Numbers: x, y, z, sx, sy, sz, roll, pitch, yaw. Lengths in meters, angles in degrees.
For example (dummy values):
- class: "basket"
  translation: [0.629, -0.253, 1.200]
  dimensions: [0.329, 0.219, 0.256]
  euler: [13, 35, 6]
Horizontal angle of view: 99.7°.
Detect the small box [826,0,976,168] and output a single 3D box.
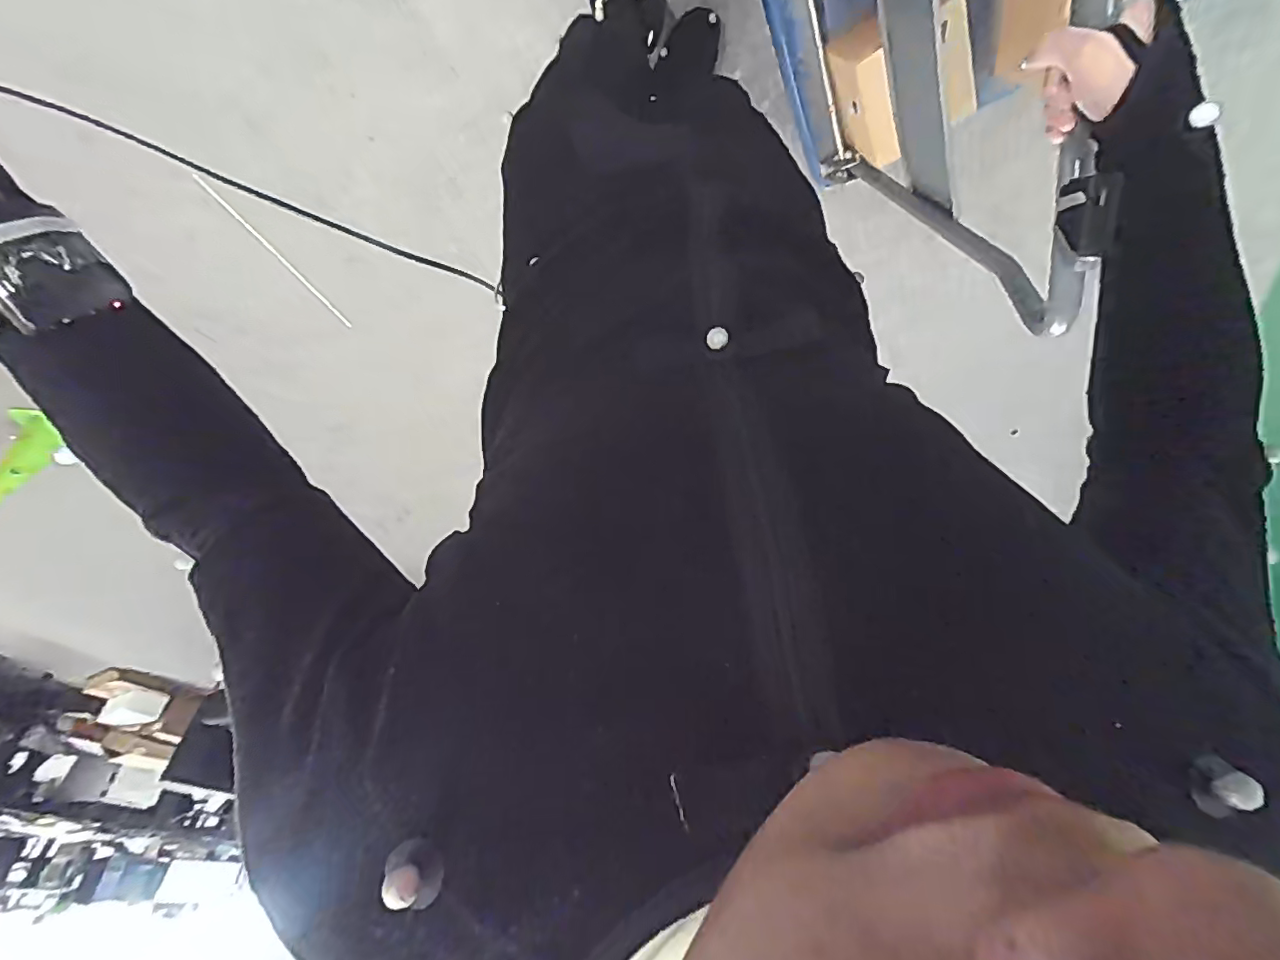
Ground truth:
- class: "small box"
  translation: [0.432, -0.676, 0.909]
  dimensions: [0.168, 0.176, 0.179]
  euler: [-24, 136, 19]
